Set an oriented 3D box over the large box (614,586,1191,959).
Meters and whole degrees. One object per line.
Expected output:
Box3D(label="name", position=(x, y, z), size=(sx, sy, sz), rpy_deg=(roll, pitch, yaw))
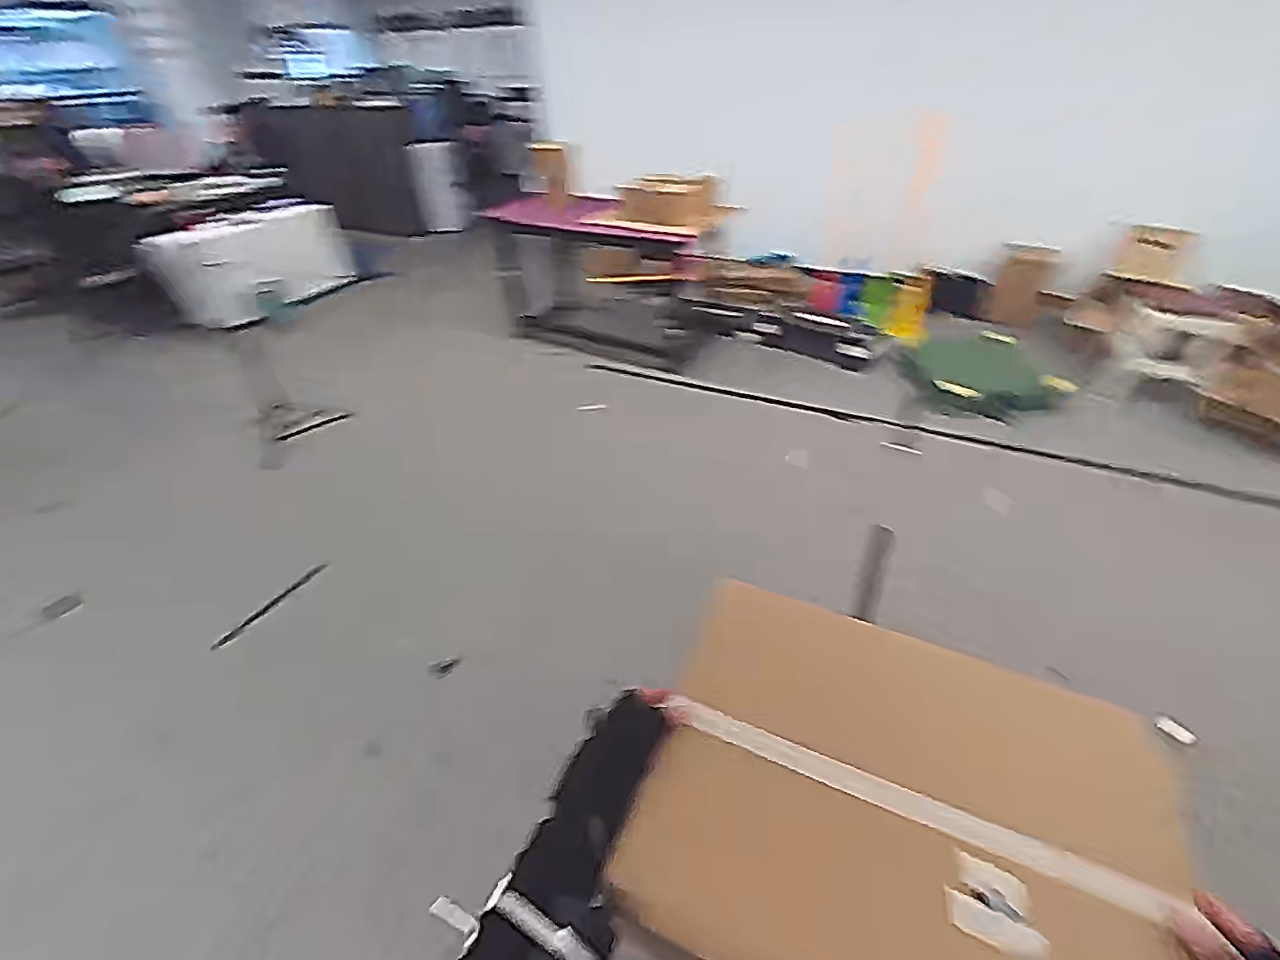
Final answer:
Box3D(label="large box", position=(0.219, 0.372, 0.563), size=(0.408, 0.320, 0.320), rpy_deg=(16, 49, 17))
